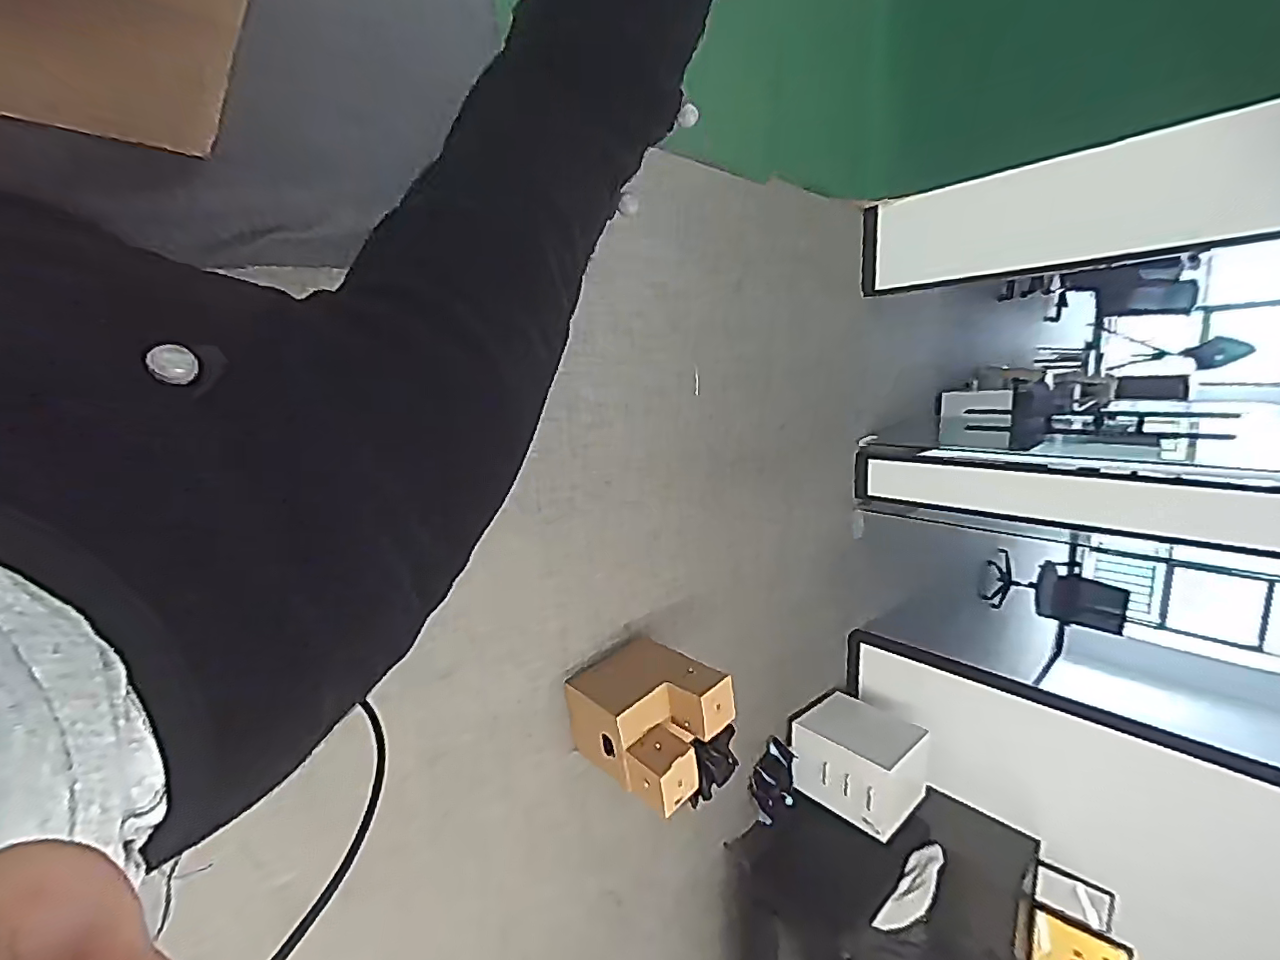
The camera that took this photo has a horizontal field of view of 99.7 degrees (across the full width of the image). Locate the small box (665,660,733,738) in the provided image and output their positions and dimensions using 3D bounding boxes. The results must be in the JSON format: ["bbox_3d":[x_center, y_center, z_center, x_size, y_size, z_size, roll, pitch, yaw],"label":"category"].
[{"bbox_3d":[0.210,0.779,1.940,0.168,0.176,0.179,-20,105,-40],"label":"small box"}]

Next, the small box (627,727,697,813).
[{"bbox_3d":[0.071,0.972,1.838,0.168,0.176,0.179,-23,112,-38],"label":"small box"}]
